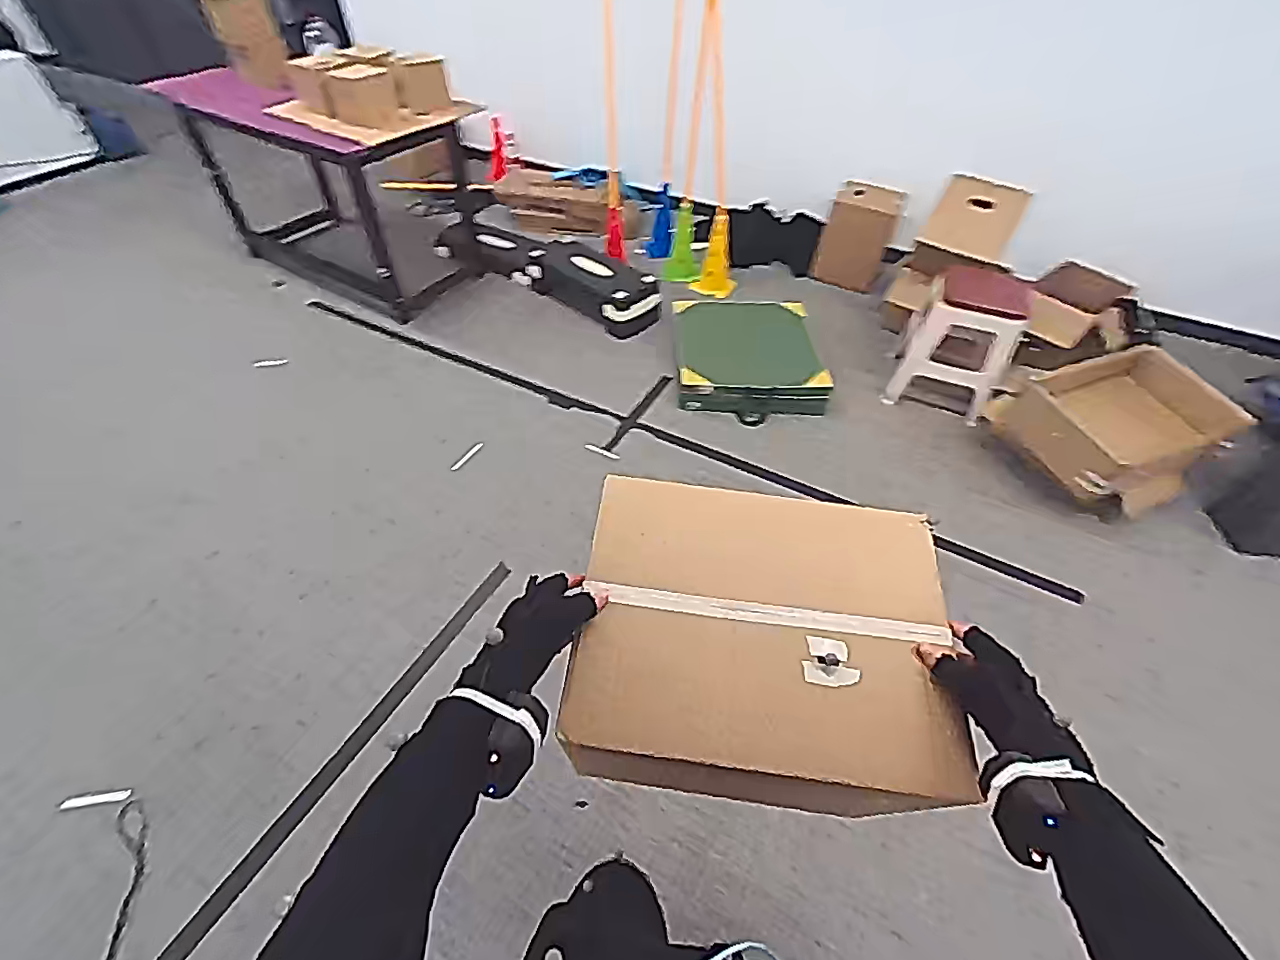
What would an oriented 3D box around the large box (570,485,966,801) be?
[{"bbox_3d":[0.133,0.233,0.738,0.408,0.320,0.320,7,58,2],"label":"large box"}]
